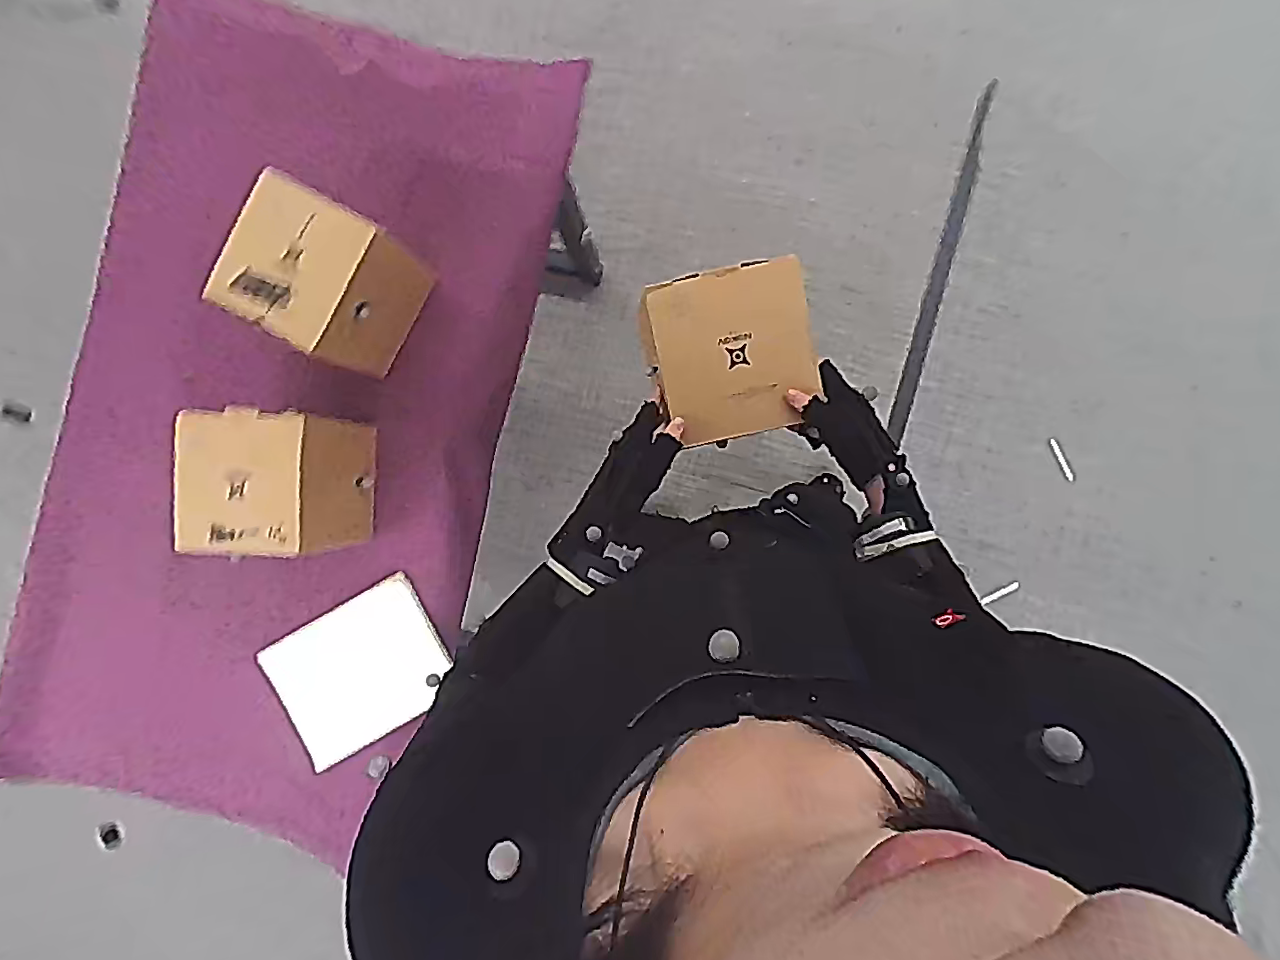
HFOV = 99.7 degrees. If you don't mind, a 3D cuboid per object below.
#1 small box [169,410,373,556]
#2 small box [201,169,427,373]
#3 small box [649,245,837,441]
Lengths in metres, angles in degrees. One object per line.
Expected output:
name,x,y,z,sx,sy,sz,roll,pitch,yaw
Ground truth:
small box,-0.491,0.005,0.744,0.168,0.176,0.179,2,90,4
small box,-0.425,-0.267,0.737,0.168,0.176,0.179,29,92,4
small box,0.107,-0.146,0.633,0.168,0.176,0.179,-12,96,0
